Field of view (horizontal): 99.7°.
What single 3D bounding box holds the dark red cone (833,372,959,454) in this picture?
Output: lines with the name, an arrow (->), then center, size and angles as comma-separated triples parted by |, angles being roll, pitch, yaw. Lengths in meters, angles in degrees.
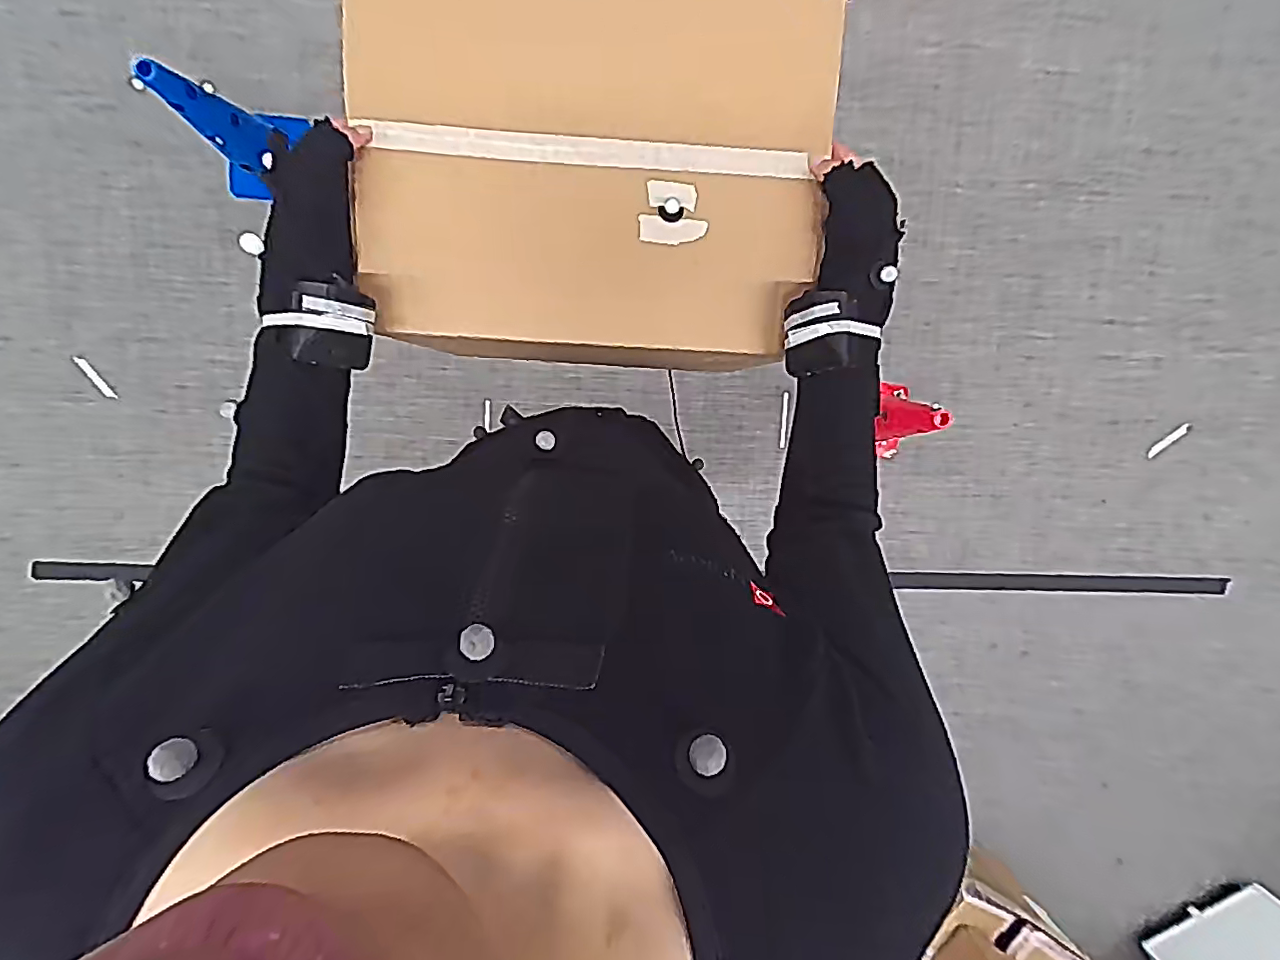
dark red cone -> 0.622, -0.154, 1.272 | 0.201, 0.394, 0.202 | 8, 97, -2

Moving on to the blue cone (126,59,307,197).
blue cone -> -0.922, -0.783, 1.180 | 0.192, 0.380, 0.193 | 5, 97, -1

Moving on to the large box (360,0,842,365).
large box -> -0.043, -0.302, 0.608 | 0.408, 0.320, 0.320 | 2, 99, -4
